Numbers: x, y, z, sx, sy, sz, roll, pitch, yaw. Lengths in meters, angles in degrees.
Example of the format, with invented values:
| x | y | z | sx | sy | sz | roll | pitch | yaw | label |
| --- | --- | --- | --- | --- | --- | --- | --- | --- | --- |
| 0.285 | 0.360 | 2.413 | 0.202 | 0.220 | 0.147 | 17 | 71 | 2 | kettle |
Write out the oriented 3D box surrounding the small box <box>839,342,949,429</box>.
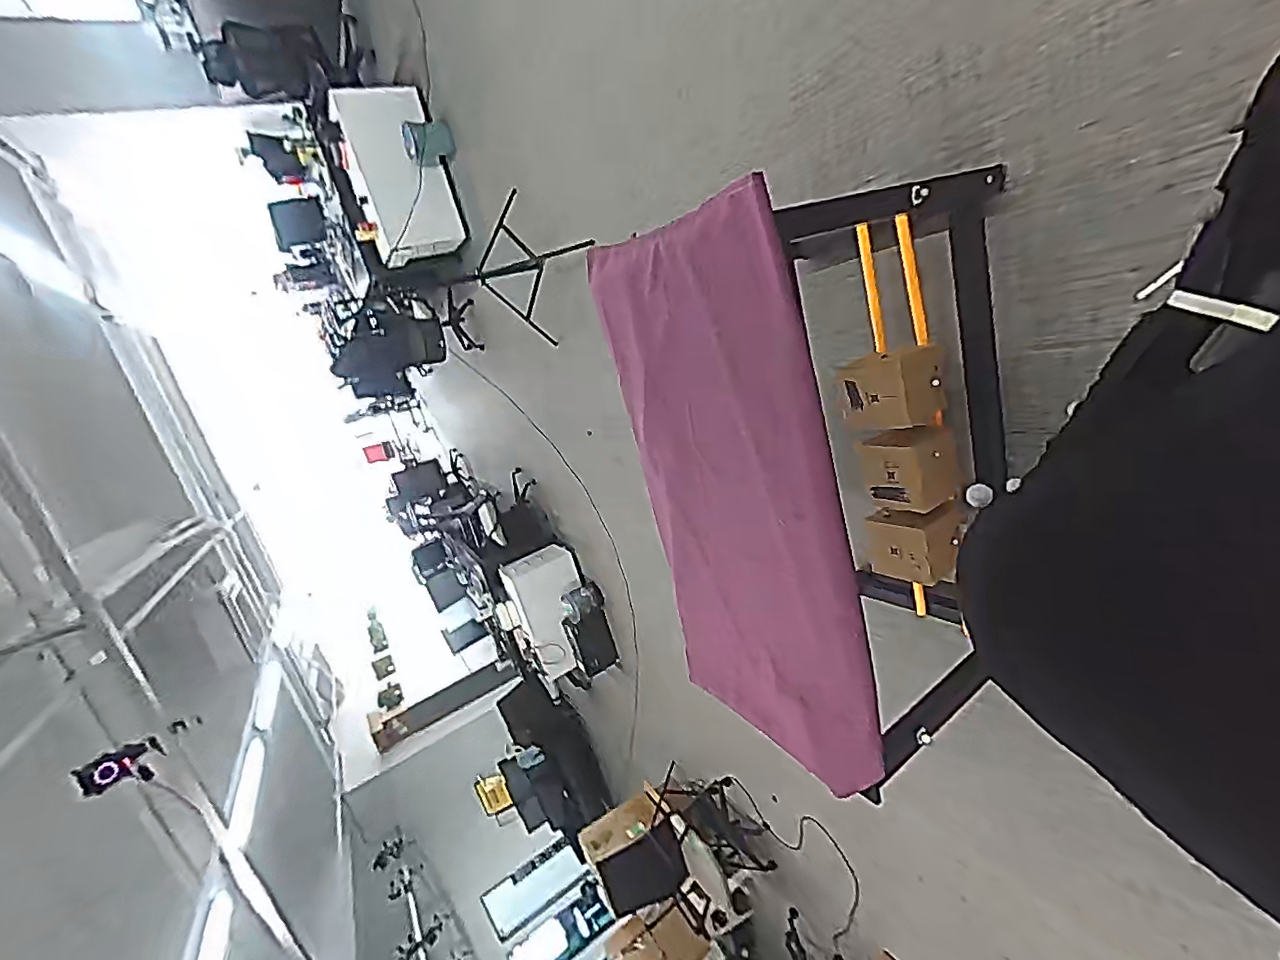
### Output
| x | y | z | sx | sy | sz | roll | pitch | yaw | label |
| --- | --- | --- | --- | --- | --- | --- | --- | --- | --- |
| 0.636 | -0.234 | 1.355 | 0.179 | 0.176 | 0.168 | 5 | 117 | 58 | small box |

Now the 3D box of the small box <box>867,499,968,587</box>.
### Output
| x | y | z | sx | sy | sz | roll | pitch | yaw | label |
| --- | --- | --- | --- | --- | --- | --- | --- | --- | --- |
| 0.752 | 0.161 | 1.463 | 0.179 | 0.176 | 0.168 | 8 | 118 | 57 | small box |
